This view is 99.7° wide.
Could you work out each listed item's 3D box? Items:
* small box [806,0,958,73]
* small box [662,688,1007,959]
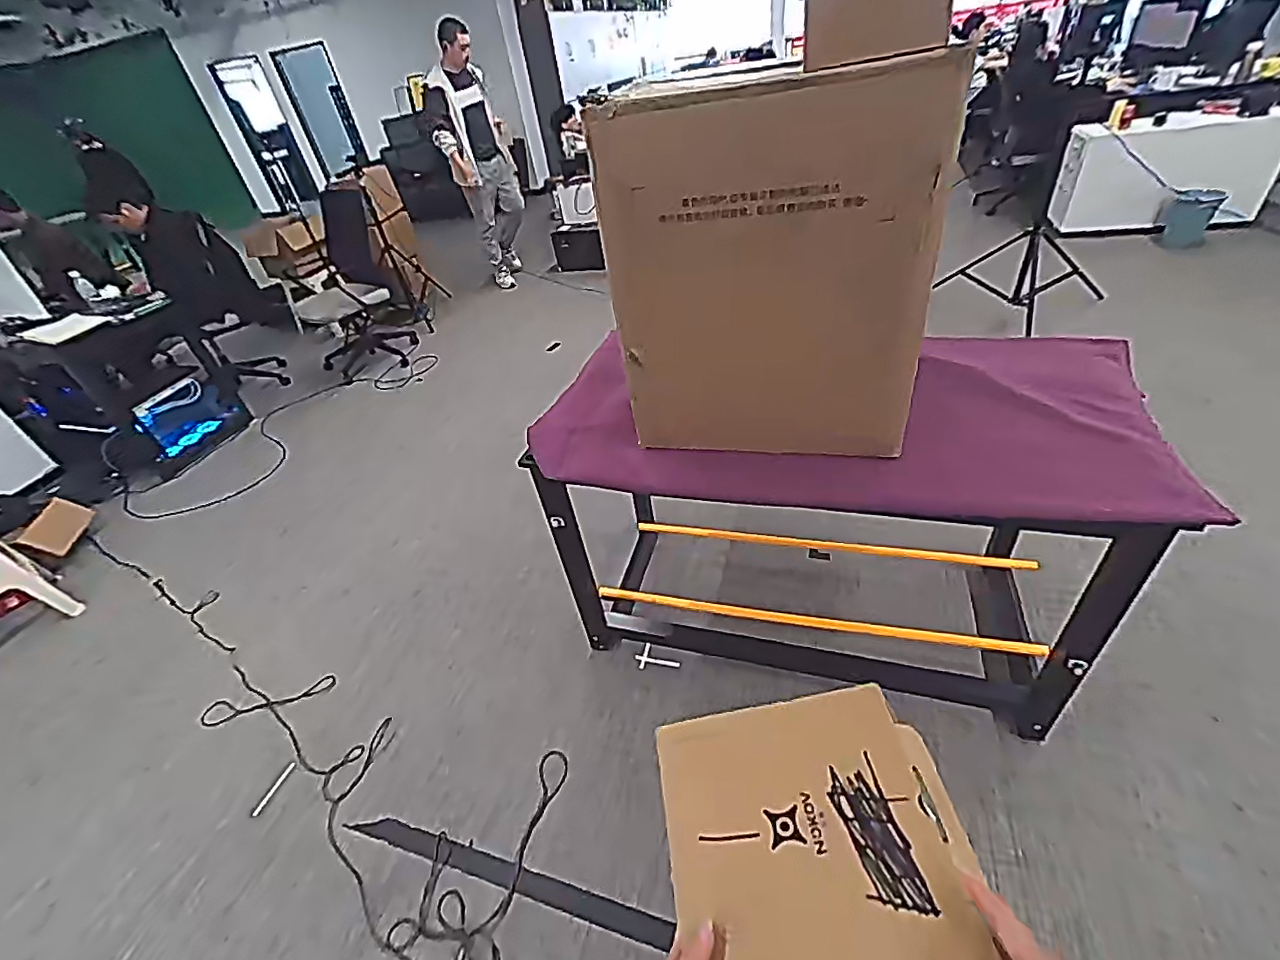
[{"bbox_3d":[0.310,-0.646,0.697,0.179,0.176,0.168,4,41,19],"label":"small box"},{"bbox_3d":[0.123,0.284,0.405,0.179,0.176,0.168,-13,42,4],"label":"small box"}]
